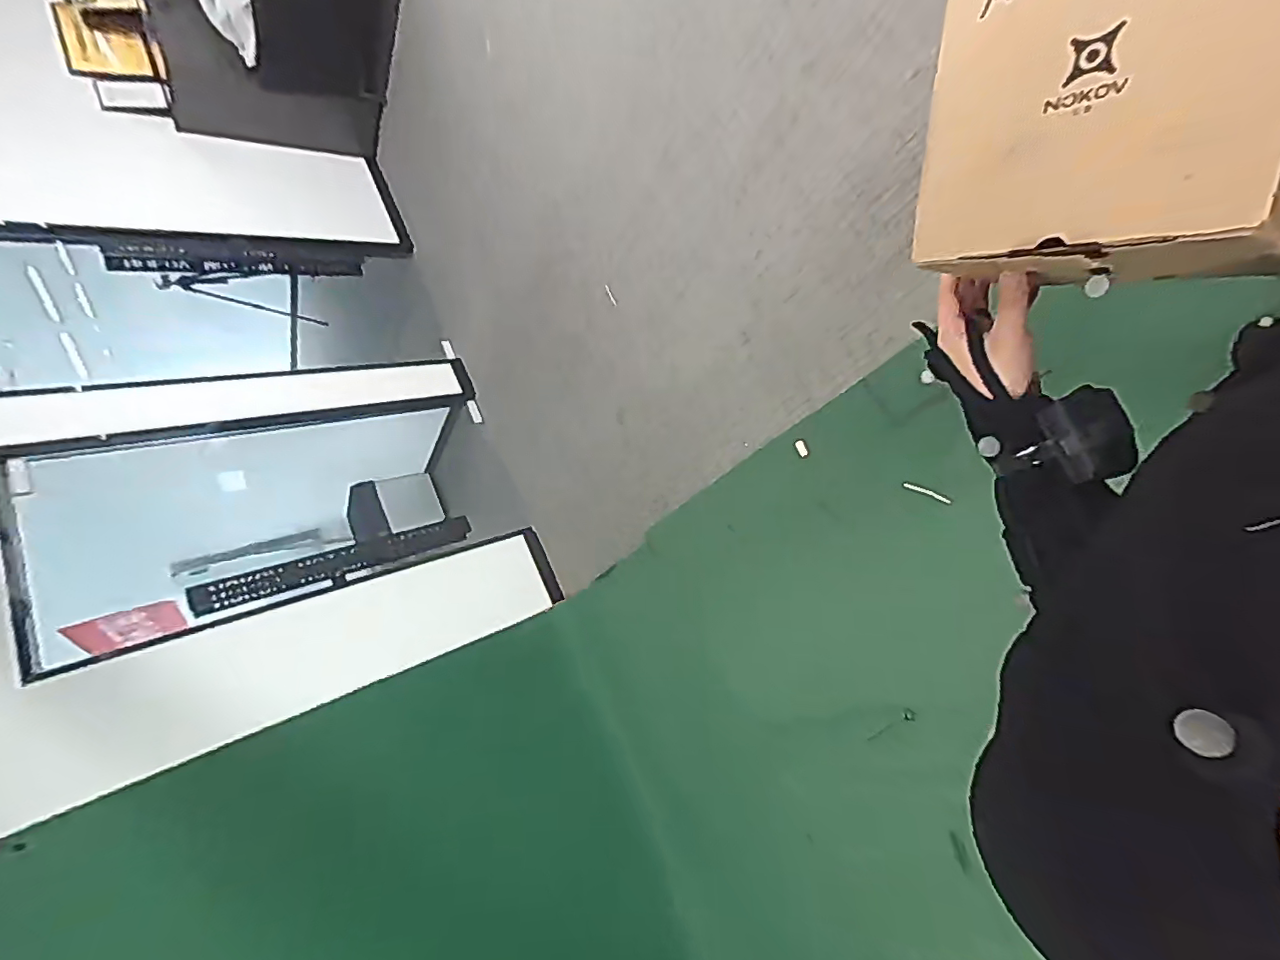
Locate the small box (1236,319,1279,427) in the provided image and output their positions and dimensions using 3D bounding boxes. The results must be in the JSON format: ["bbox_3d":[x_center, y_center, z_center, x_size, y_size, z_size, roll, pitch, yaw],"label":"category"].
[{"bbox_3d":[1.066,-0.172,0.833,0.179,0.176,0.168,6,103,61],"label":"small box"}]
